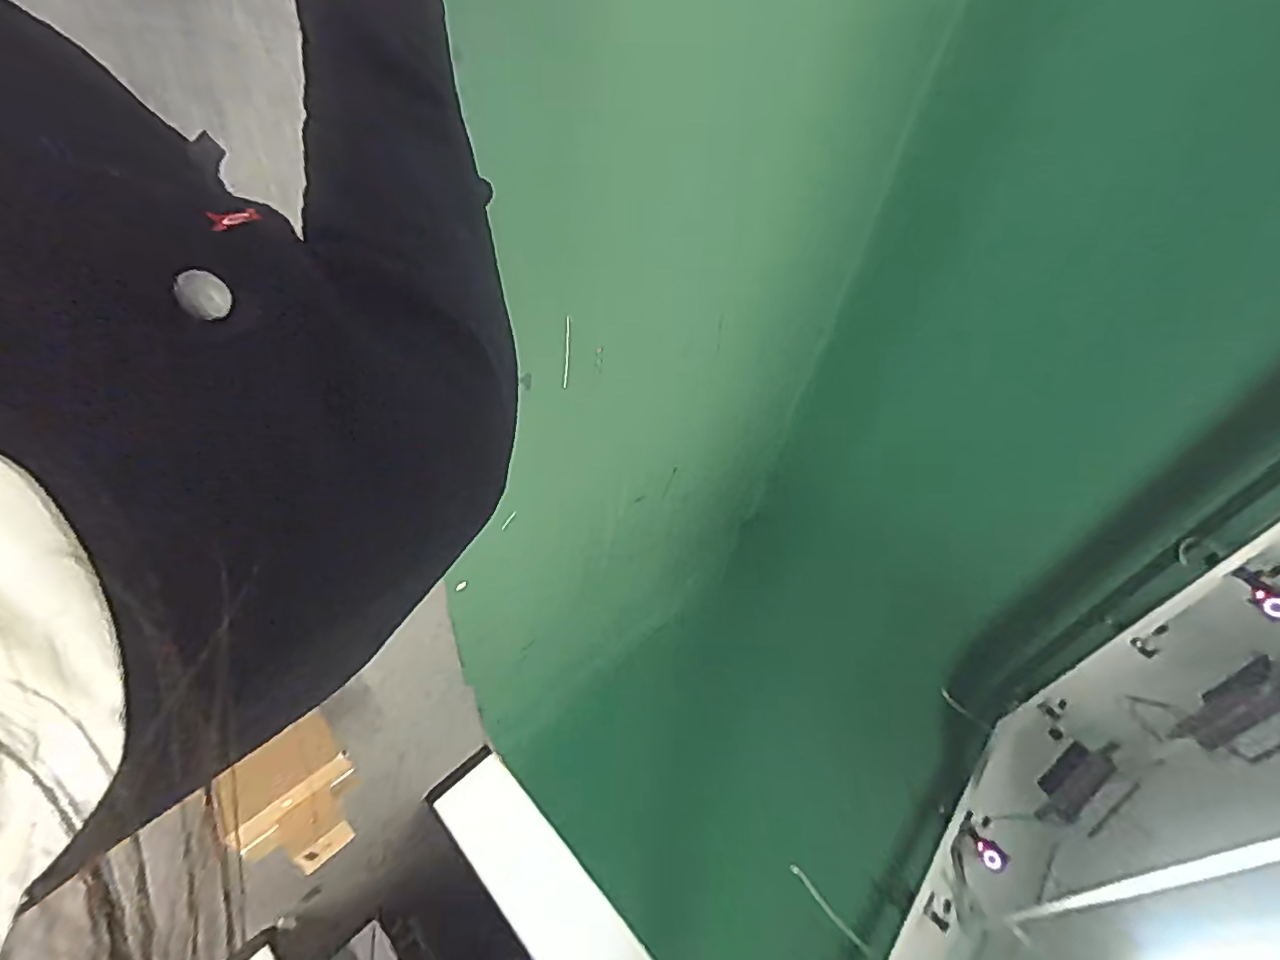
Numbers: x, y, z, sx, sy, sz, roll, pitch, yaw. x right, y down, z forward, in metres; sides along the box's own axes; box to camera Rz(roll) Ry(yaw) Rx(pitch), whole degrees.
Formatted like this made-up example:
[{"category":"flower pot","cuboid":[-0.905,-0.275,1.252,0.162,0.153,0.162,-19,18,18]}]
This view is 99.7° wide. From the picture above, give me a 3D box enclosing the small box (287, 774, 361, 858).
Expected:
[{"category":"small box","cuboid":[-1.178,1.242,2.005,0.179,0.176,0.168,-33,142,-33]}]
